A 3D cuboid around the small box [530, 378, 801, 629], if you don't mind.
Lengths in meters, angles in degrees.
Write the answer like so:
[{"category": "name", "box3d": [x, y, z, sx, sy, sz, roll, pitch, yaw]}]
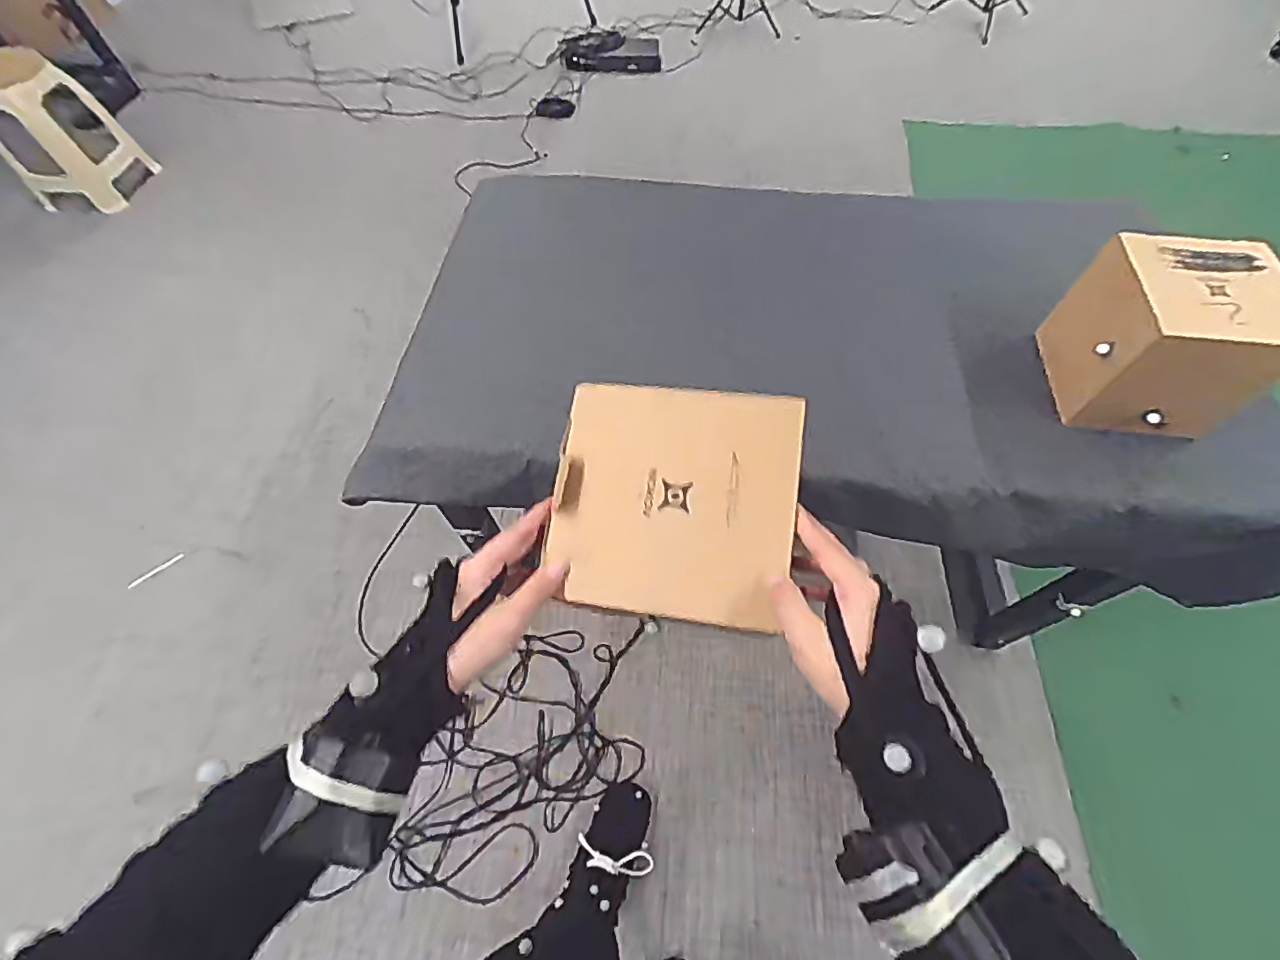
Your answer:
[{"category": "small box", "box3d": [0.031, 0.030, 0.456, 0.179, 0.176, 0.168, 6, 74, 11]}]
